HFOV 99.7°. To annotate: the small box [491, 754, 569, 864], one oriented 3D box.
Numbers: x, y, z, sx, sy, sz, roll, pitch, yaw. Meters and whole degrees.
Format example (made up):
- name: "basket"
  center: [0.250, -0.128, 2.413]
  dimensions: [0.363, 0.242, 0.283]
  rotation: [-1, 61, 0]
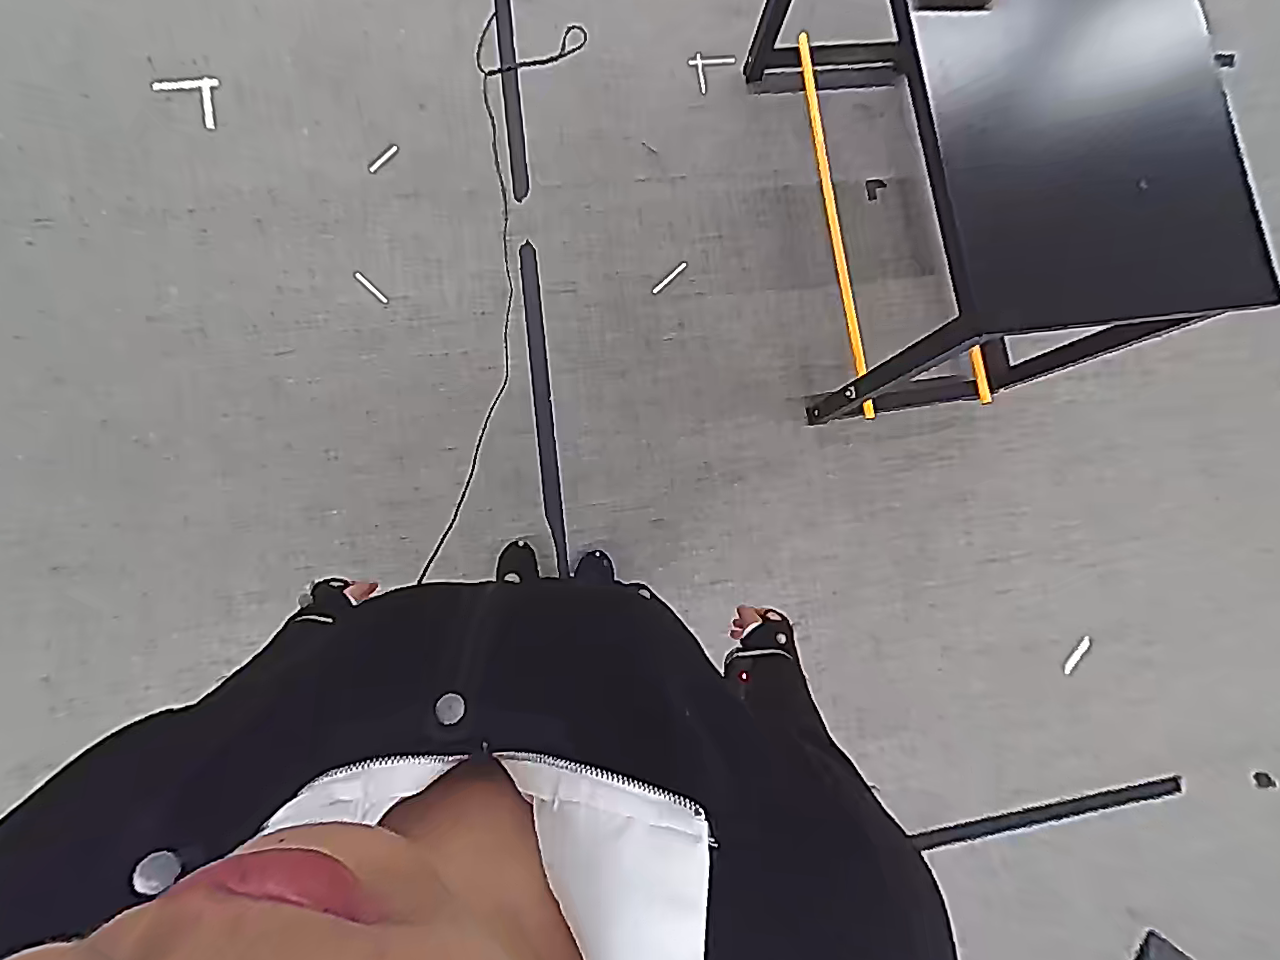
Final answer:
- name: "small box"
  center: [-0.268, 0.804, 1.345]
  dimensions: [0.168, 0.176, 0.179]
  rotation: [-7, 83, -6]
